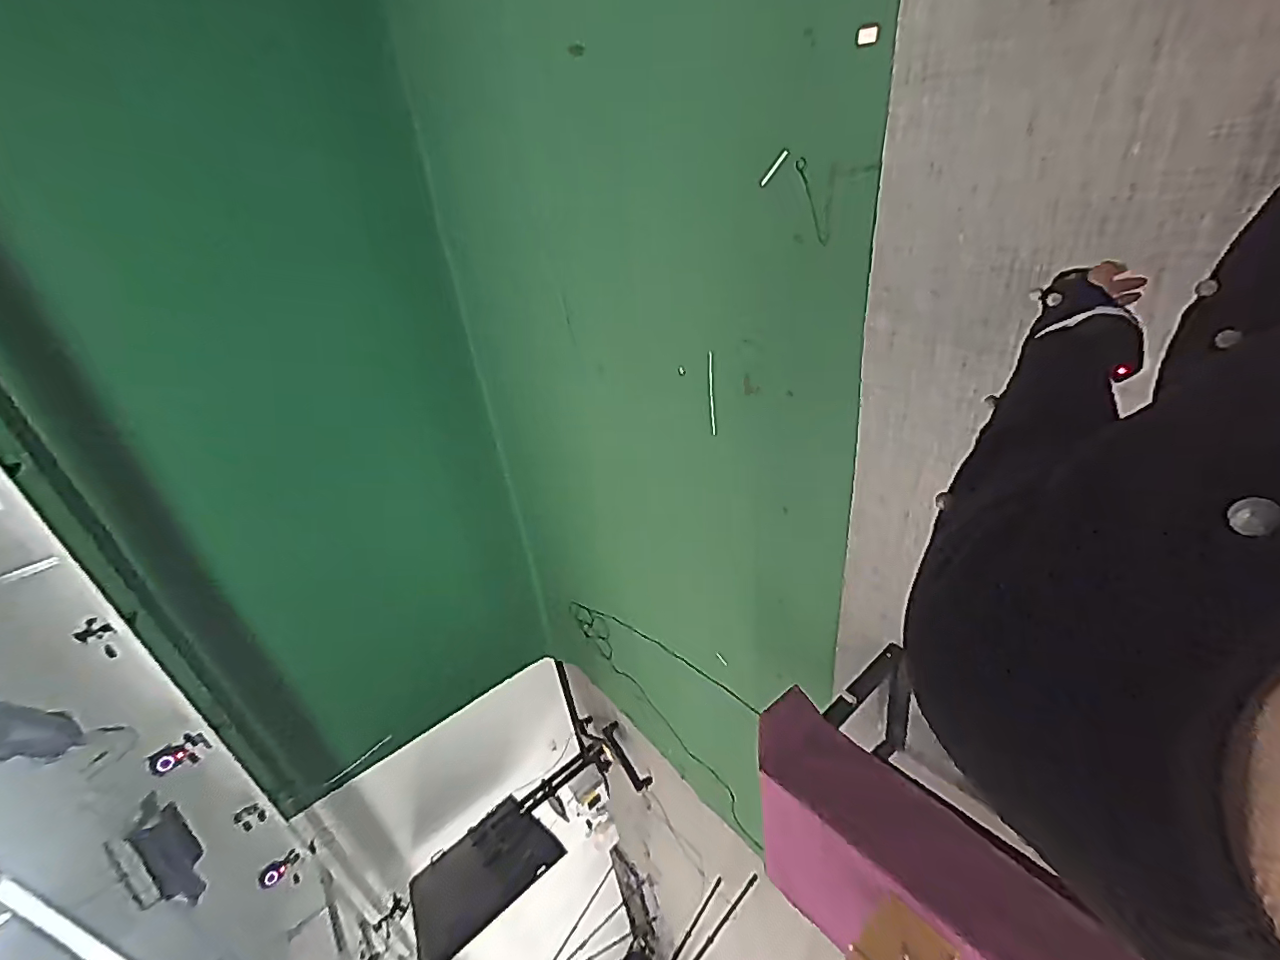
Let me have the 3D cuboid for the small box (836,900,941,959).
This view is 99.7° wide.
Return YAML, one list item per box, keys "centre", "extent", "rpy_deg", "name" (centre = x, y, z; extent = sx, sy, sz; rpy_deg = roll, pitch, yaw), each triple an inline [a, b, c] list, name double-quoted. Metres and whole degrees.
- centre: [0.588, 1.165, 1.284]
  extent: [0.179, 0.176, 0.168]
  rpy_deg: [22, 130, 47]
  name: "small box"
